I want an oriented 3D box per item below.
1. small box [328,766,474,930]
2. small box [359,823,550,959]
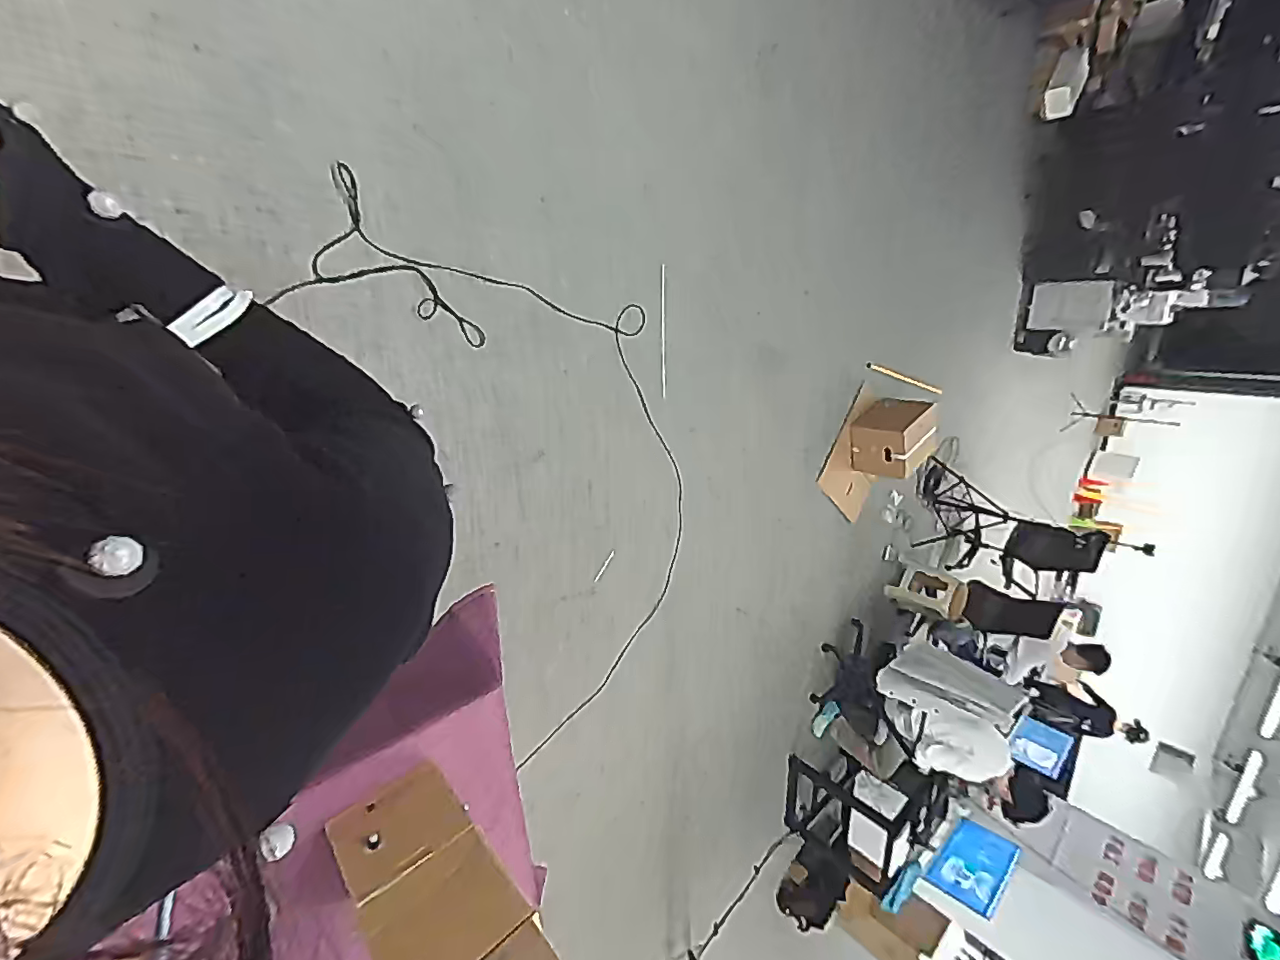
[{"bbox_3d":[-0.358,0.582,0.838,0.168,0.176,0.179,-21,117,-37],"label":"small box"},{"bbox_3d":[-0.245,0.617,0.727,0.179,0.176,0.168,-22,117,-36],"label":"small box"}]
